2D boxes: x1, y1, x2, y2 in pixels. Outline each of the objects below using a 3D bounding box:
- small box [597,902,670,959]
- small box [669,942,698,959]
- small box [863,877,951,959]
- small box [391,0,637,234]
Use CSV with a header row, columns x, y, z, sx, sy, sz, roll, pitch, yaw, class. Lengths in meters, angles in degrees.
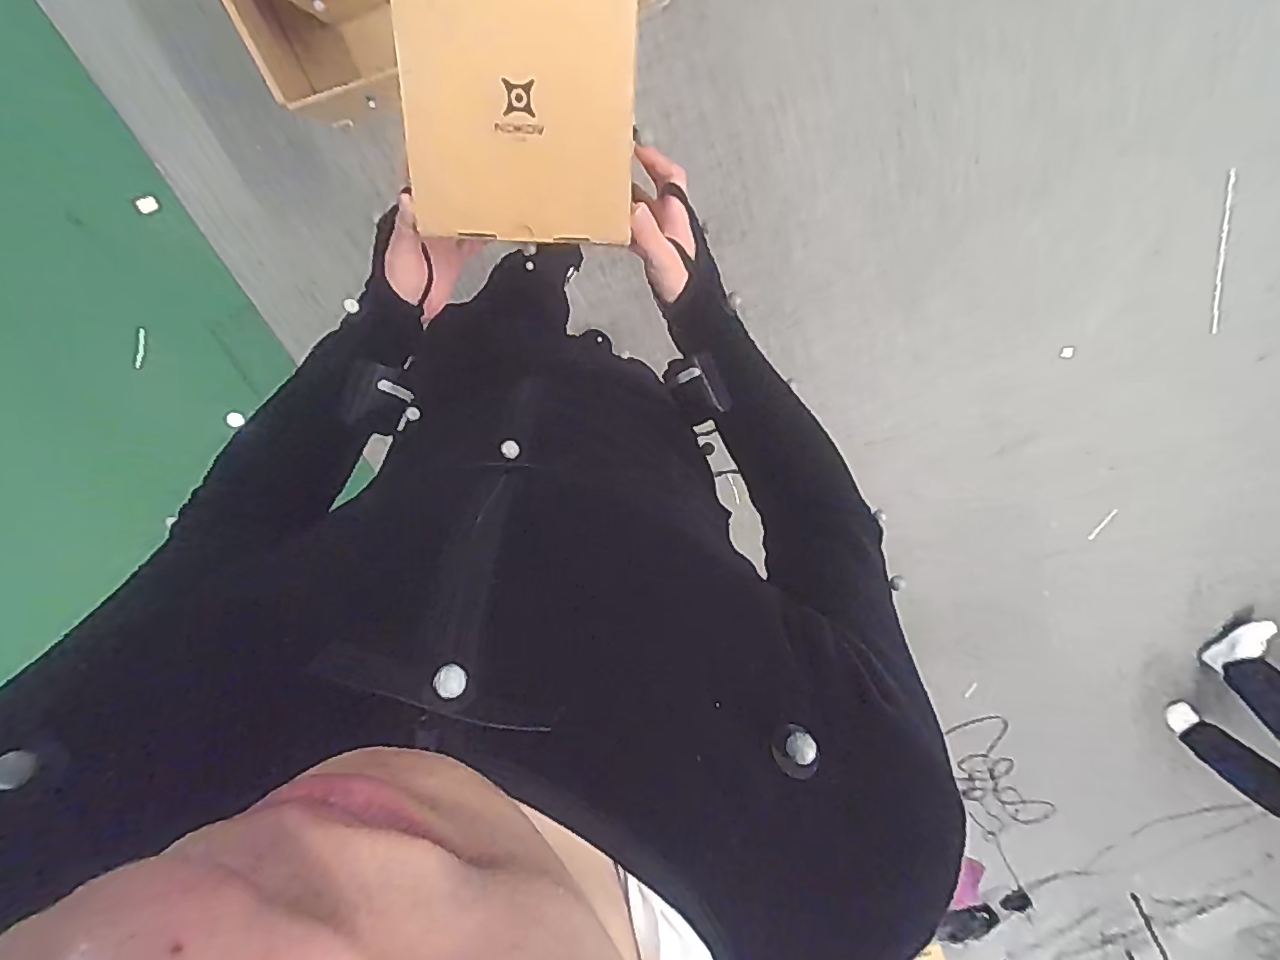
x,y,z,sx,sy,sz,roll,pitch,yaw,class
-0.015,1.370,1.568,0.168,0.176,0.179,-23,117,7,small box
0.104,1.615,1.717,0.168,0.176,0.179,-21,118,6,small box
0.785,1.312,1.600,0.168,0.176,0.179,-22,119,8,small box
-0.089,-0.306,0.454,0.168,0.176,0.179,1,116,-2,small box
